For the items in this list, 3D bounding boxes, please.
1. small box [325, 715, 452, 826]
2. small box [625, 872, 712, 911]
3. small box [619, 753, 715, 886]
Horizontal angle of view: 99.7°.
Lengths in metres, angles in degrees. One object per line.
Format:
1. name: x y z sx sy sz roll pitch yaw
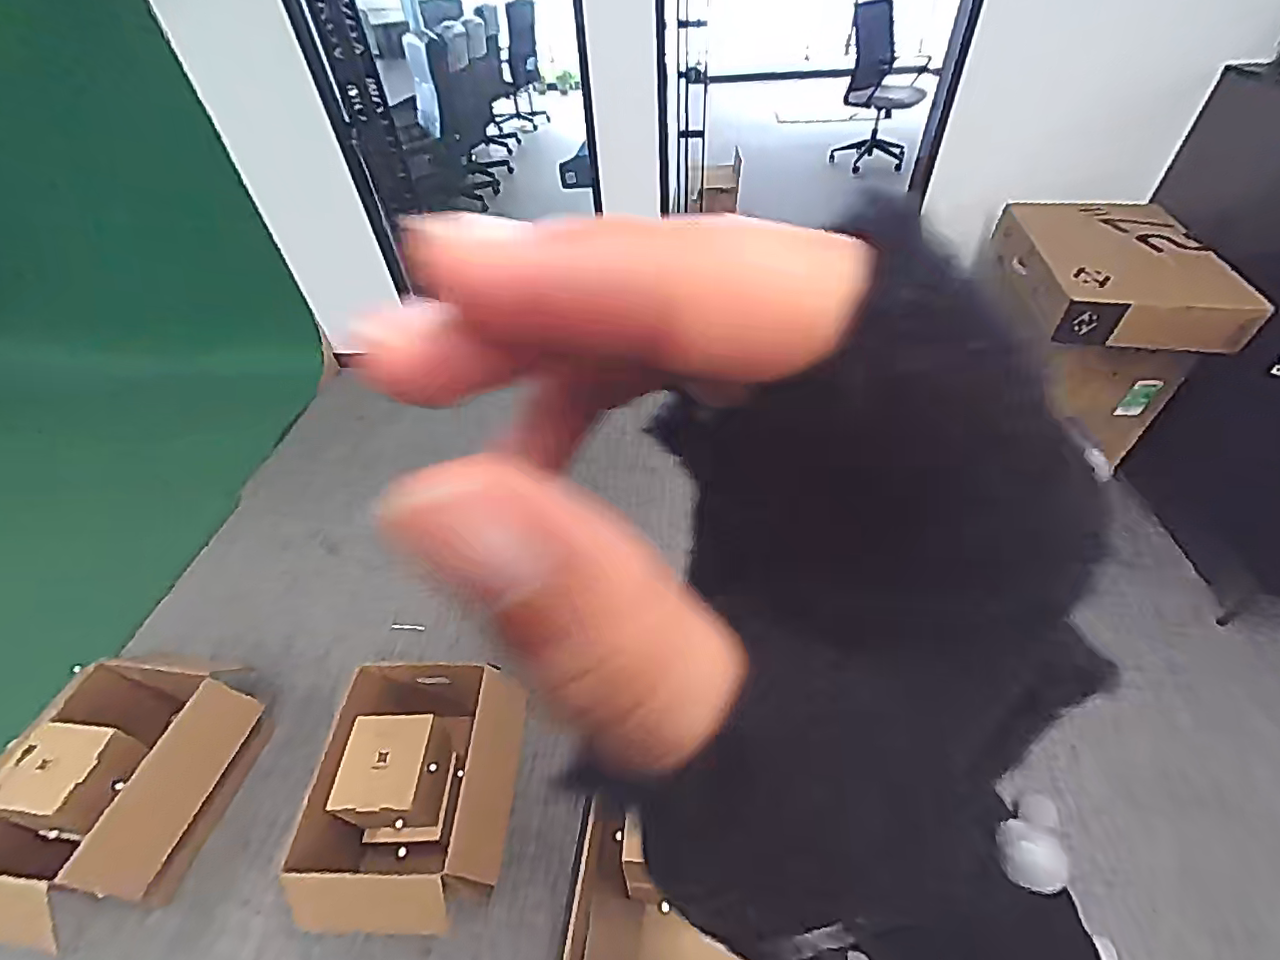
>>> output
1. small box: -0.512 0.611 1.132 0.168 0.176 0.179 -1 47 1
2. small box: 0.064 0.768 1.130 0.168 0.176 0.179 4 44 7
3. small box: 0.056 0.644 1.022 0.168 0.176 0.179 2 44 4
